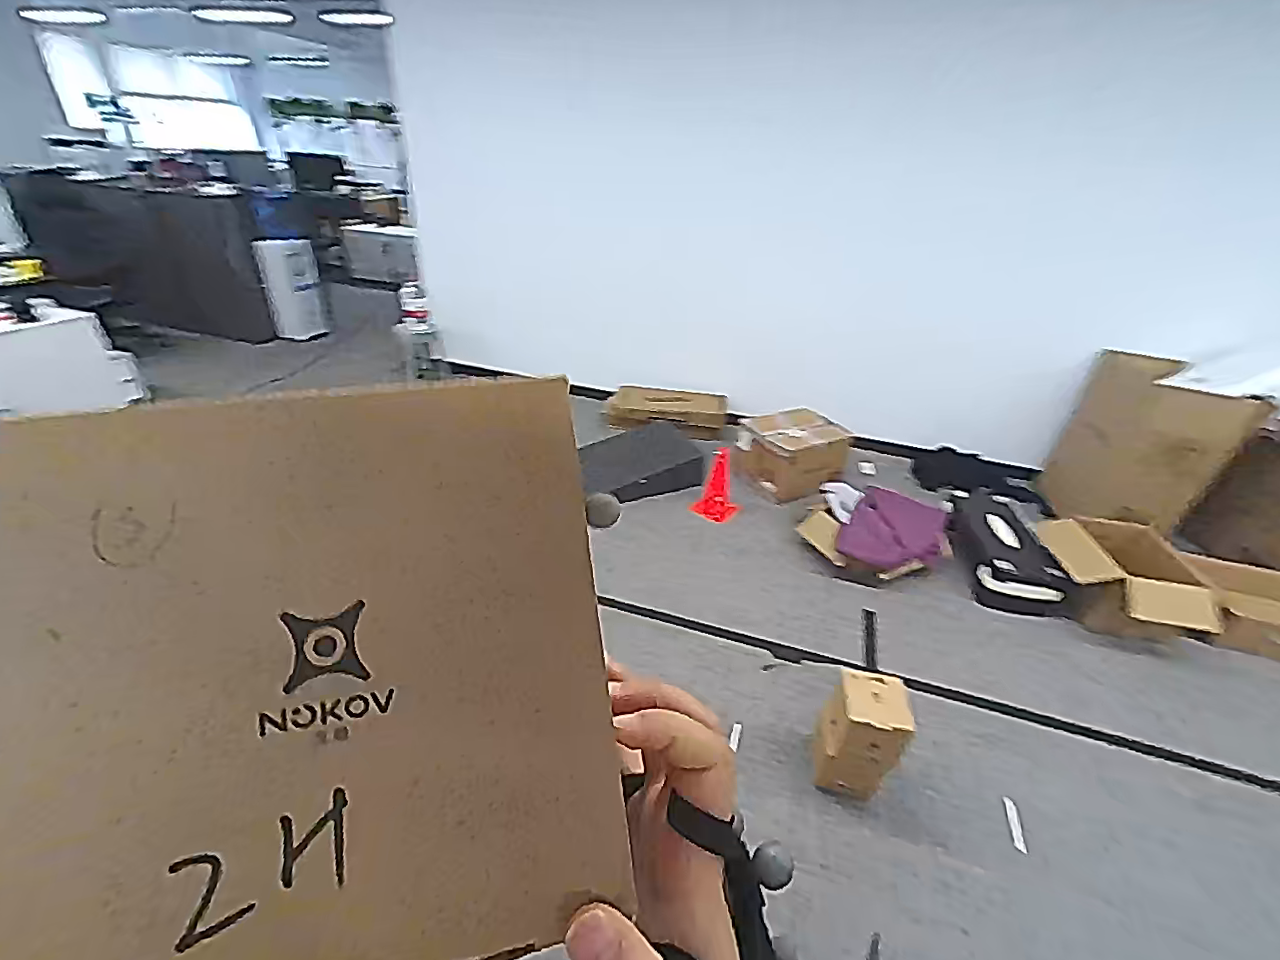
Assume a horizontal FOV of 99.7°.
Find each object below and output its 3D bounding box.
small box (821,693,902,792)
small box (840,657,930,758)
[{"bbox_3d":[0.621,0.746,1.540,0.168,0.176,0.179,8,33,8],"label":"small box"},{"bbox_3d":[0.647,0.610,1.450,0.168,0.176,0.179,8,32,7],"label":"small box"}]
